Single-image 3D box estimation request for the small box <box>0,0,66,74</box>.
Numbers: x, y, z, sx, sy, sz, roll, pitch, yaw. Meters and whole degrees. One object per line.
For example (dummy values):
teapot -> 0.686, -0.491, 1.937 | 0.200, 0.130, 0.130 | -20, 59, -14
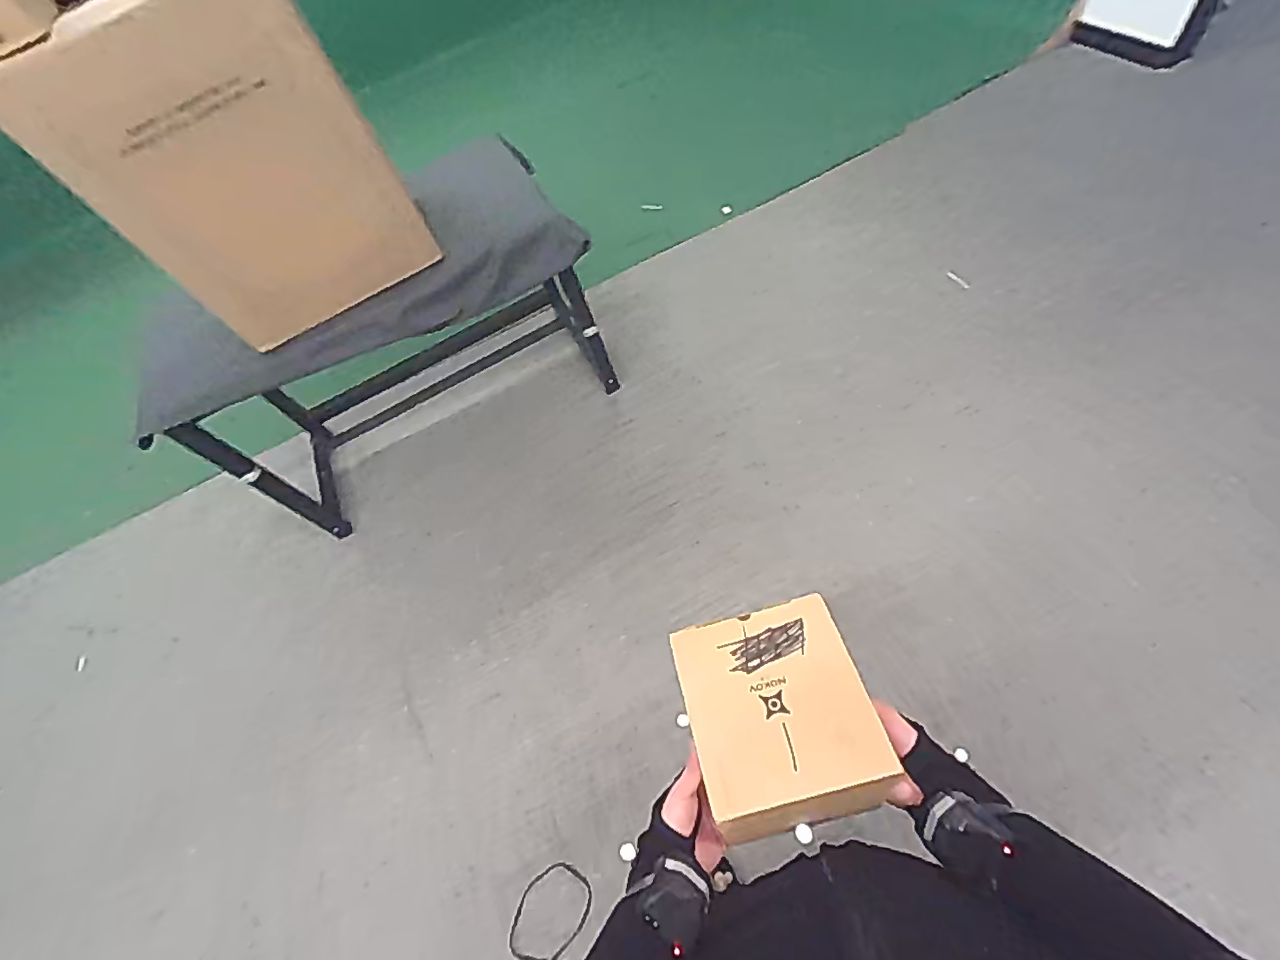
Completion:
small box -> -1.101, -0.781, 0.877 | 0.168, 0.176, 0.179 | -29, 57, -4
